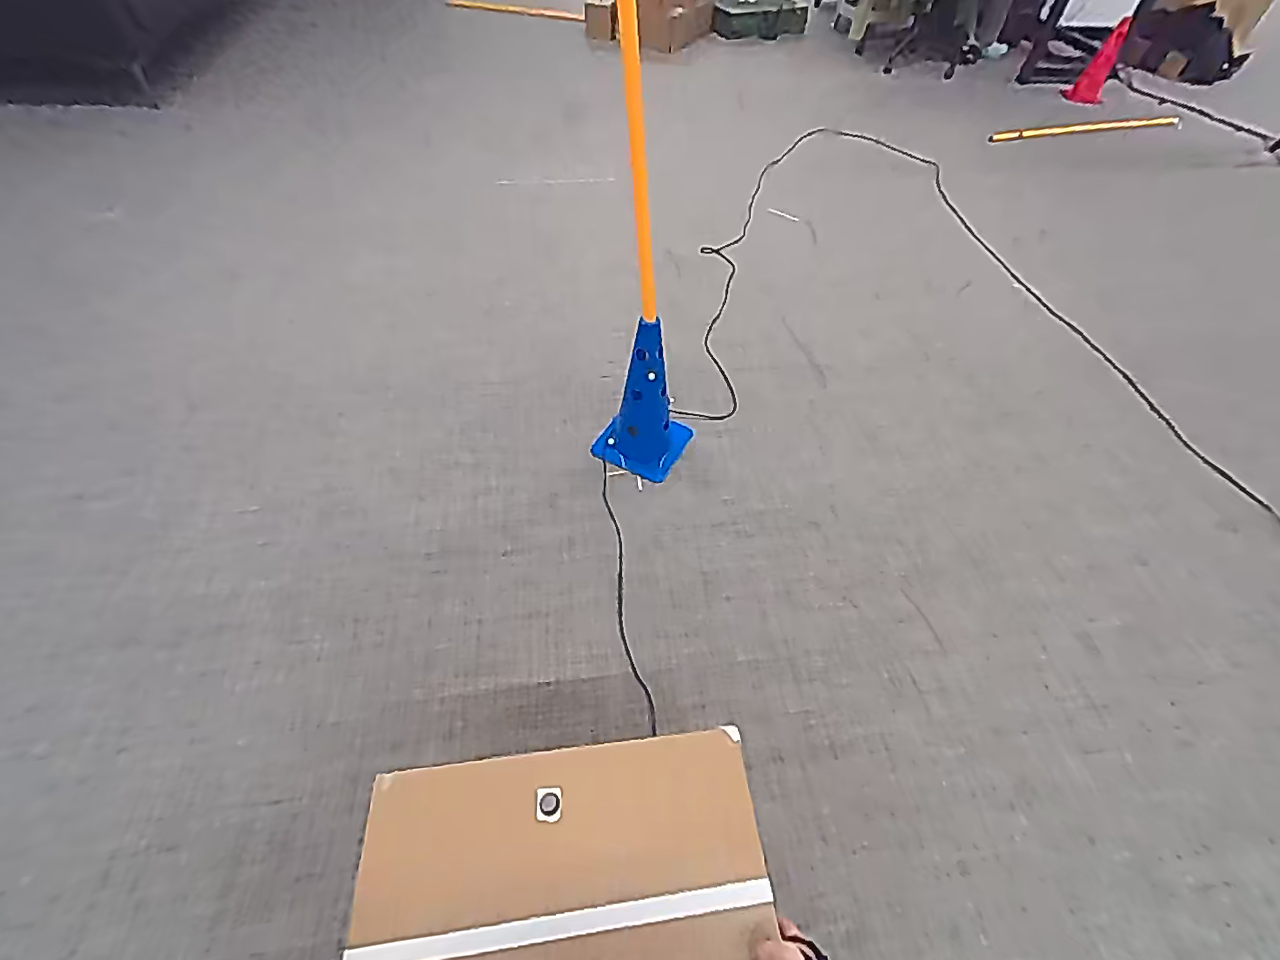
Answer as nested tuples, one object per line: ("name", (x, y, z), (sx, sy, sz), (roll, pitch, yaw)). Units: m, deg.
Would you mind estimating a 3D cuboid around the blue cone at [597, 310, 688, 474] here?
("blue cone", (0.014, -0.201, 1.186), (0.192, 0.380, 0.193), (22, 55, 14))
